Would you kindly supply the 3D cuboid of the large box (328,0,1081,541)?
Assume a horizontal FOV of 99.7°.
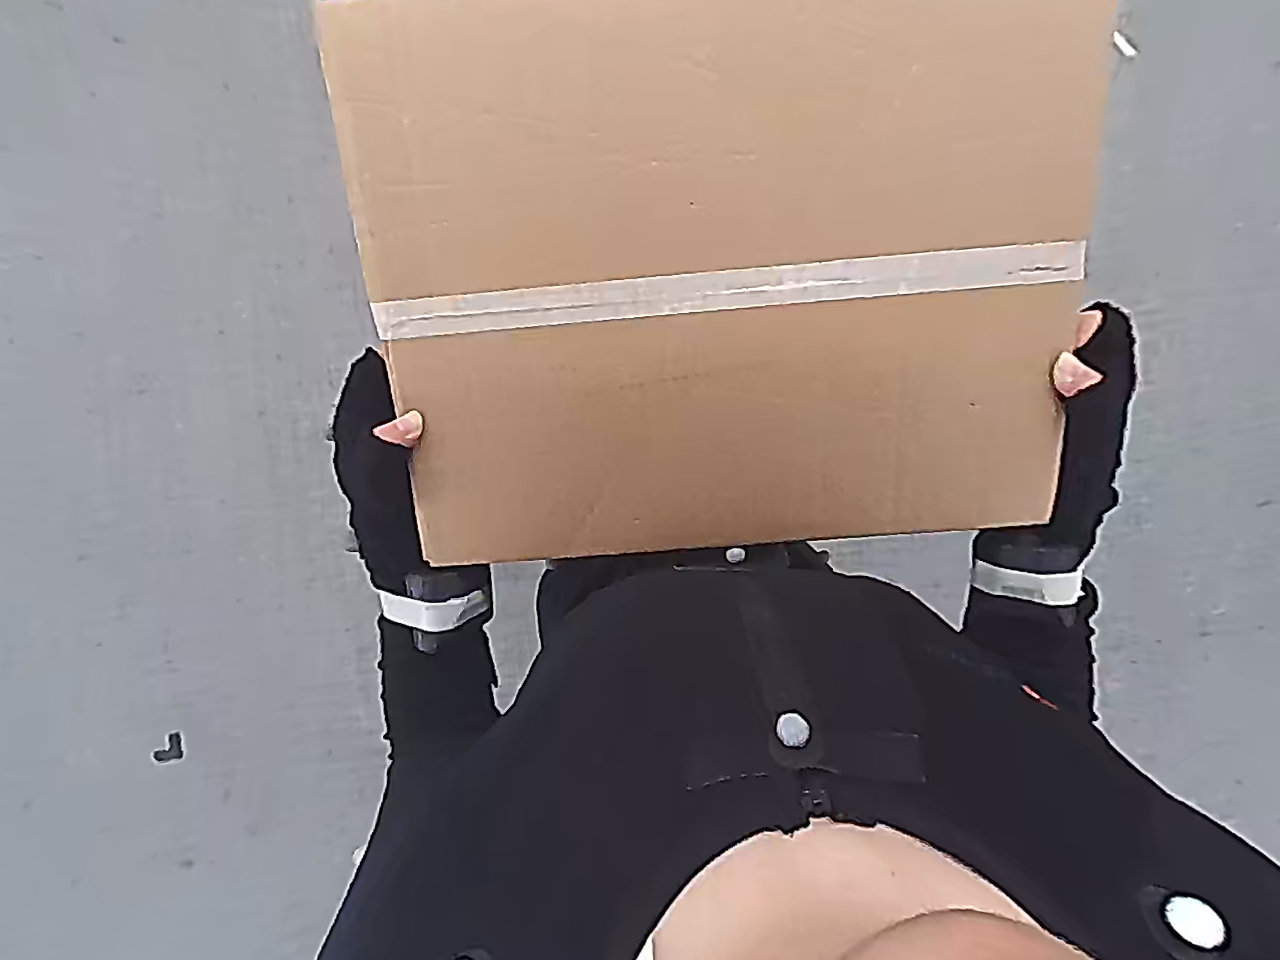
[{"bbox_3d":[0.042,-0.161,0.462,0.408,0.320,0.320,-5,106,1],"label":"large box"}]
